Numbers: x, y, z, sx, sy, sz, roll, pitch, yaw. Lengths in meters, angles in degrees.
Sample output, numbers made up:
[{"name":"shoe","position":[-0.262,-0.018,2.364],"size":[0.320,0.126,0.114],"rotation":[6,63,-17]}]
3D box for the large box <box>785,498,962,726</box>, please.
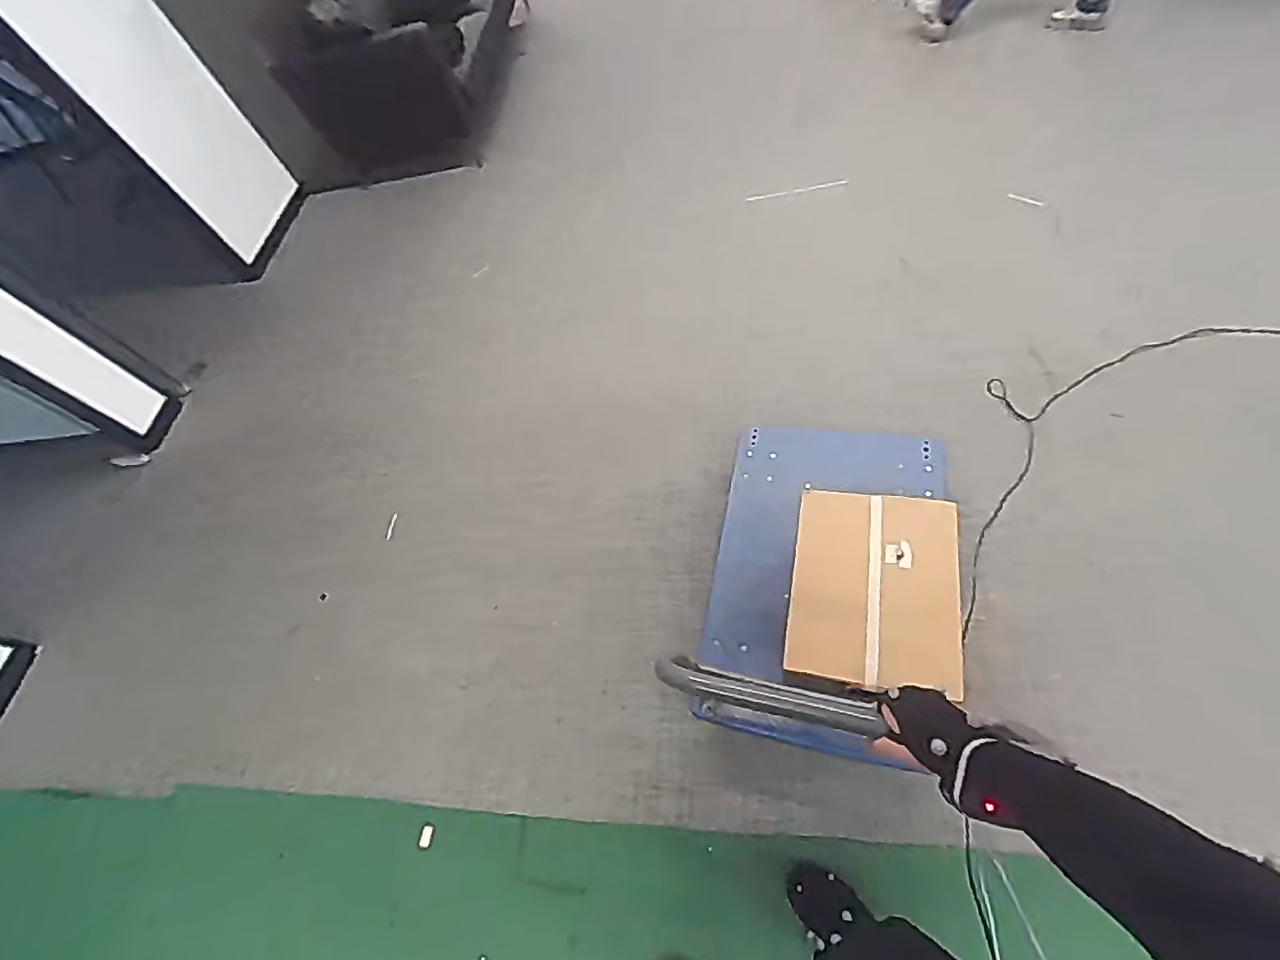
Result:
[{"name":"large box","position":[0.503,0.297,1.220],"size":[0.320,0.320,0.408],"rotation":[6,61,17]}]
